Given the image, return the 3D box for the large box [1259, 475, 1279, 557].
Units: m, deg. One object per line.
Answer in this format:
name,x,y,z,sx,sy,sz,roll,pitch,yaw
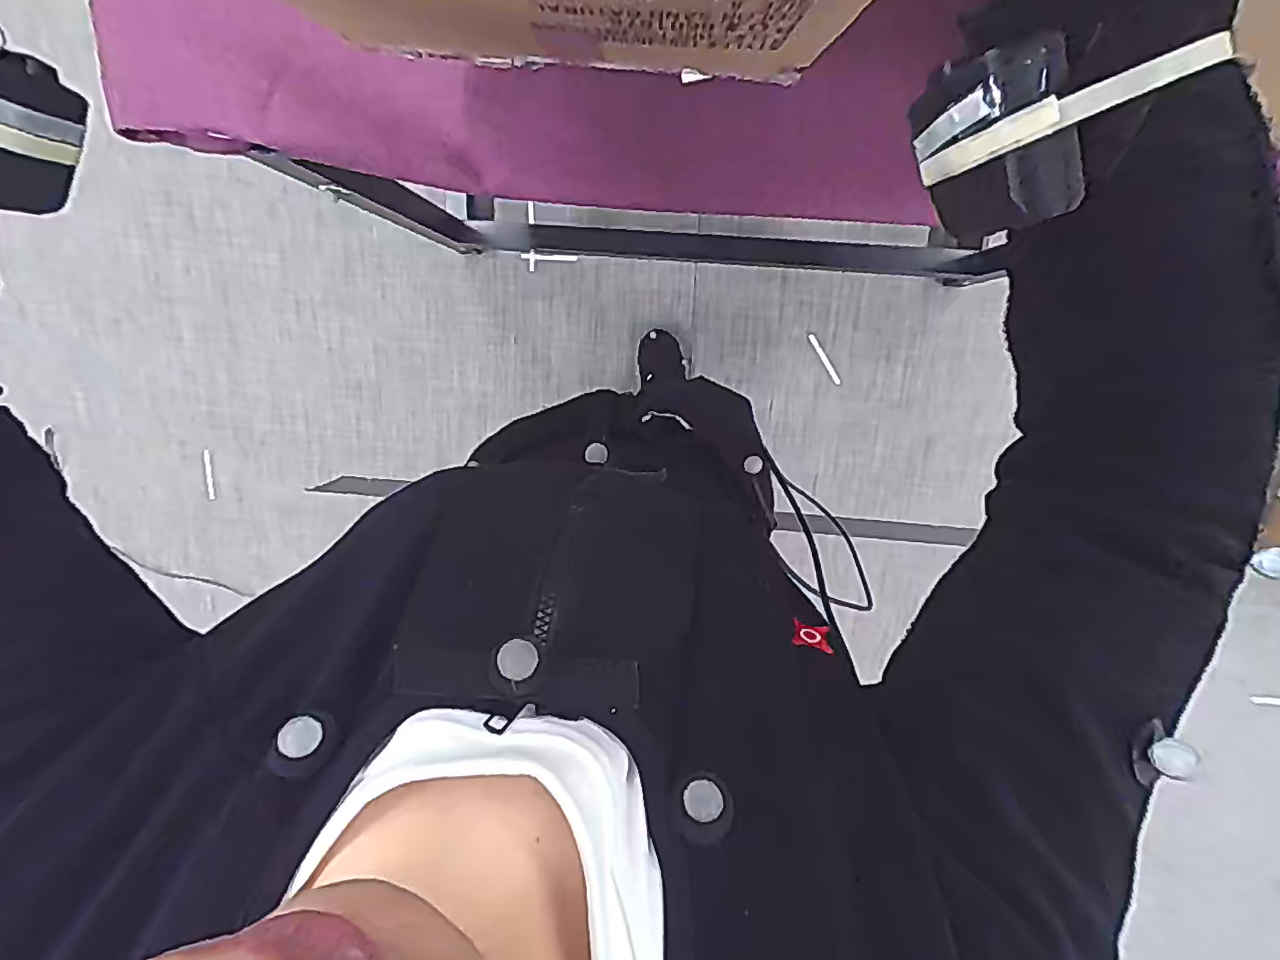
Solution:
large box,1.731,0.074,1.157,0.408,0.320,0.320,3,103,3
